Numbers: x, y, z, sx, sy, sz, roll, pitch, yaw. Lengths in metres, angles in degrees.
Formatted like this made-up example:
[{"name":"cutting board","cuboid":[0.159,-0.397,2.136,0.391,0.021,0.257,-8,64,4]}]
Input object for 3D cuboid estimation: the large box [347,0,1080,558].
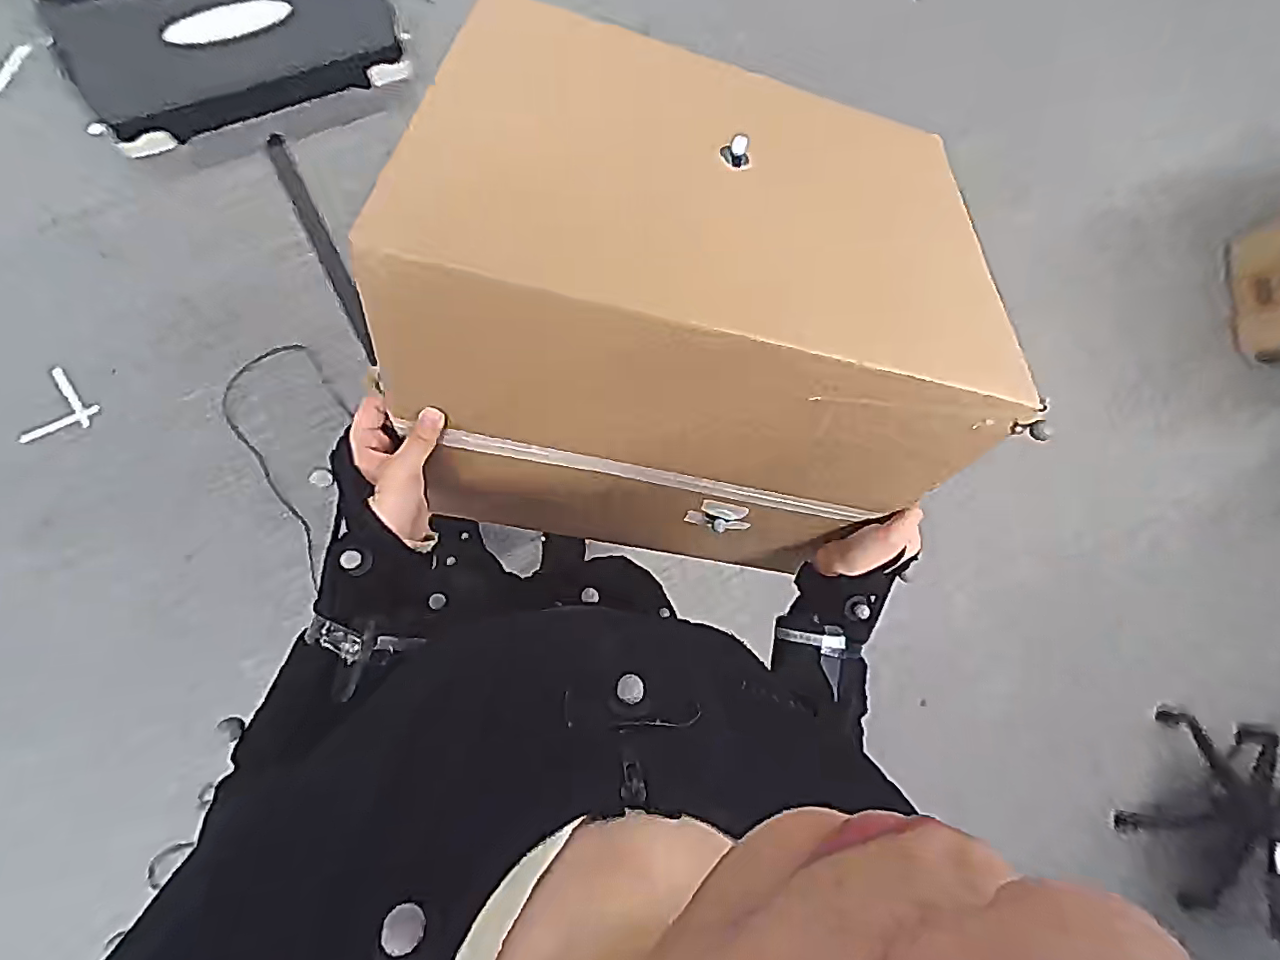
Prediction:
[{"name":"large box","cuboid":[0.032,-0.149,0.477,0.408,0.320,0.320,9,61,-10]}]
